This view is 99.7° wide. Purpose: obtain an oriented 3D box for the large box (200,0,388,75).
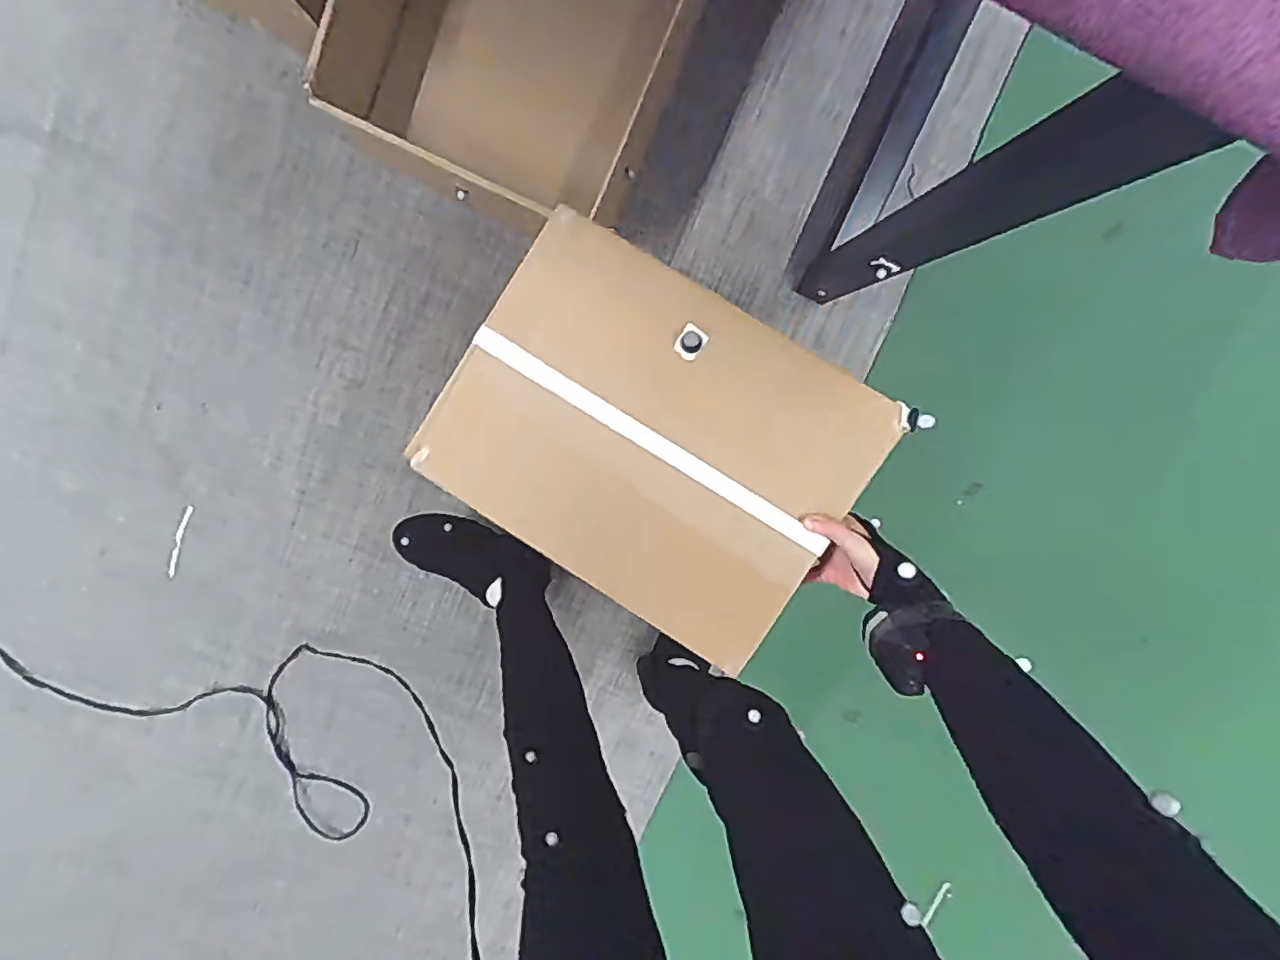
[{"bbox_3d":[-0.480,-0.829,0.643,0.320,0.320,0.408,22,99,-7],"label":"large box"}]
